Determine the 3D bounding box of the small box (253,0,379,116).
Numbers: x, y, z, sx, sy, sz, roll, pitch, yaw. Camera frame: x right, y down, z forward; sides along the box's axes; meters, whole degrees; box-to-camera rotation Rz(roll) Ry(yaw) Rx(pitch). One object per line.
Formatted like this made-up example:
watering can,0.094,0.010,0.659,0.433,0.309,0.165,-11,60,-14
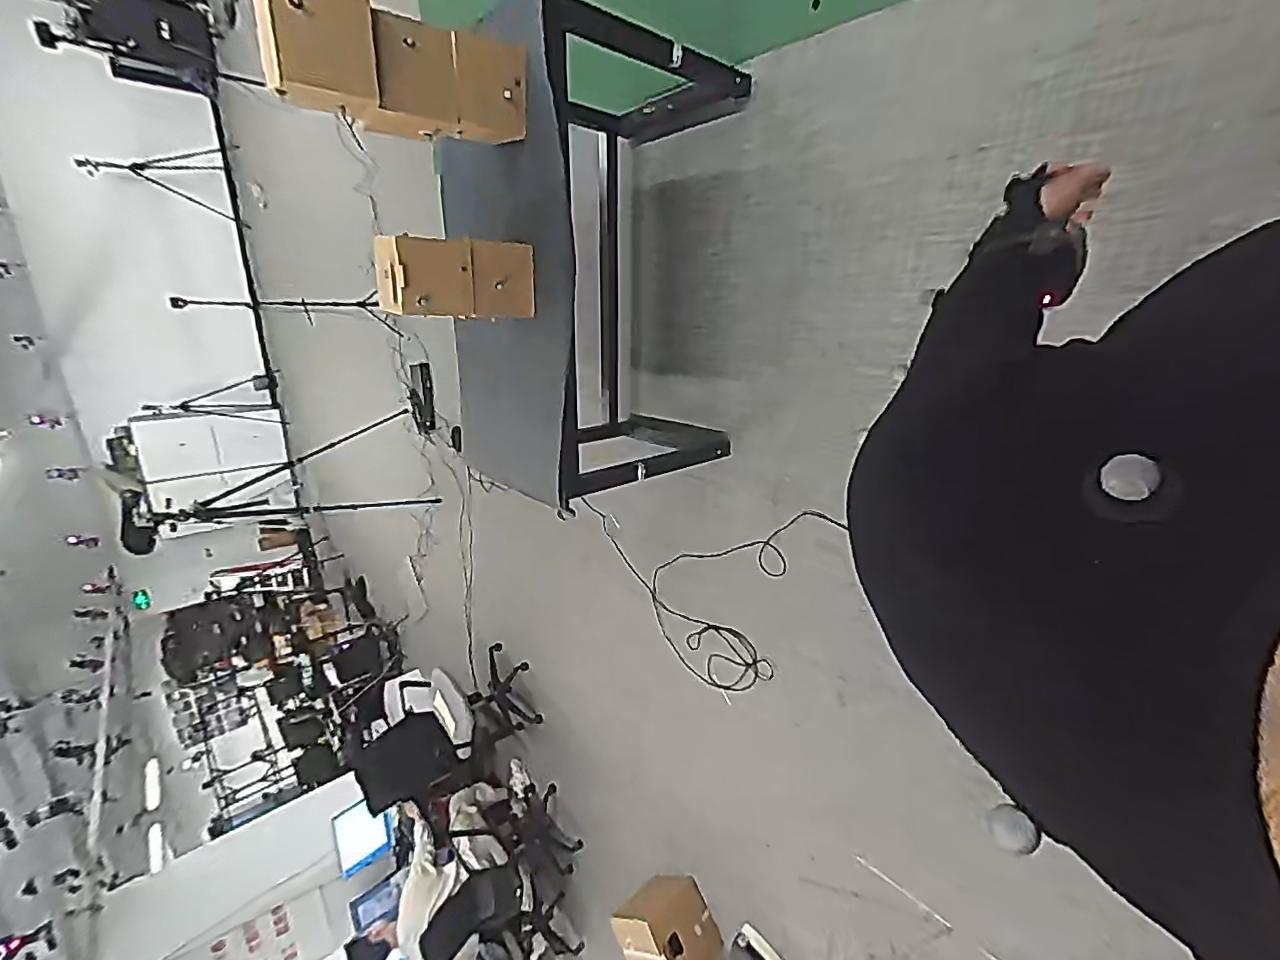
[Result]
small box,-0.616,-0.827,1.032,0.168,0.176,0.179,25,121,47

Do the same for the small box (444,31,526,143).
small box,-0.378,-0.893,1.248,0.179,0.176,0.168,27,122,44

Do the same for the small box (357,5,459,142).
small box,-0.503,-0.851,1.153,0.168,0.176,0.179,19,117,49

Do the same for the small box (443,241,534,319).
small box,-0.381,-0.510,1.376,0.168,0.176,0.179,23,119,45
